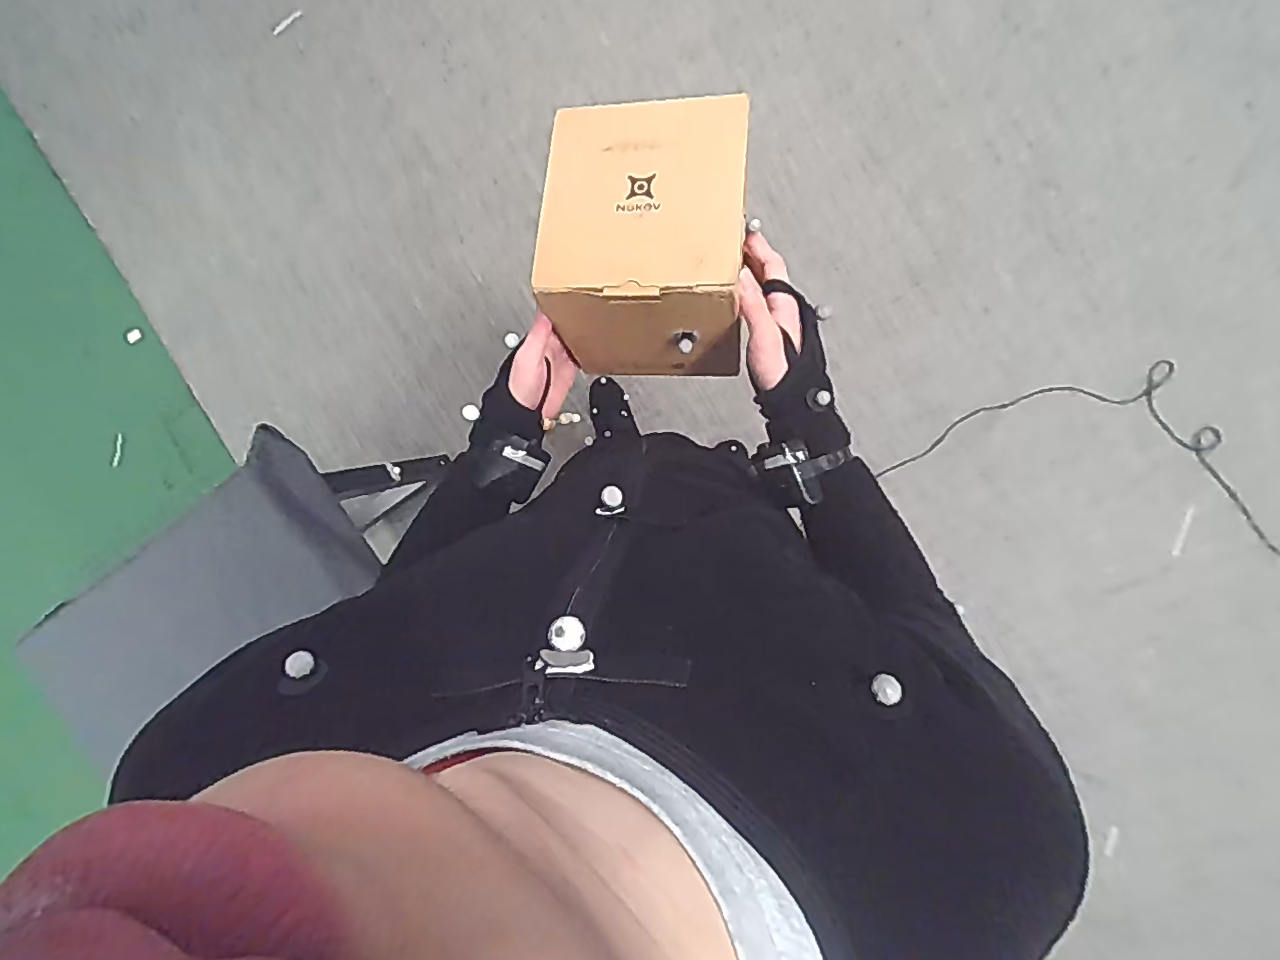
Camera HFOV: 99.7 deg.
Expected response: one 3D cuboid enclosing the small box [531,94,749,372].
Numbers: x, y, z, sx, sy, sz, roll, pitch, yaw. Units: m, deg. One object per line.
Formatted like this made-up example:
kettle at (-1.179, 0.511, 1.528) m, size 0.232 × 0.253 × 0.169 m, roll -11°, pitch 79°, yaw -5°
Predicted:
small box at (0.014, -0.213, 0.508) m, size 0.168 × 0.176 × 0.179 m, roll 3°, pitch 77°, yaw 10°
